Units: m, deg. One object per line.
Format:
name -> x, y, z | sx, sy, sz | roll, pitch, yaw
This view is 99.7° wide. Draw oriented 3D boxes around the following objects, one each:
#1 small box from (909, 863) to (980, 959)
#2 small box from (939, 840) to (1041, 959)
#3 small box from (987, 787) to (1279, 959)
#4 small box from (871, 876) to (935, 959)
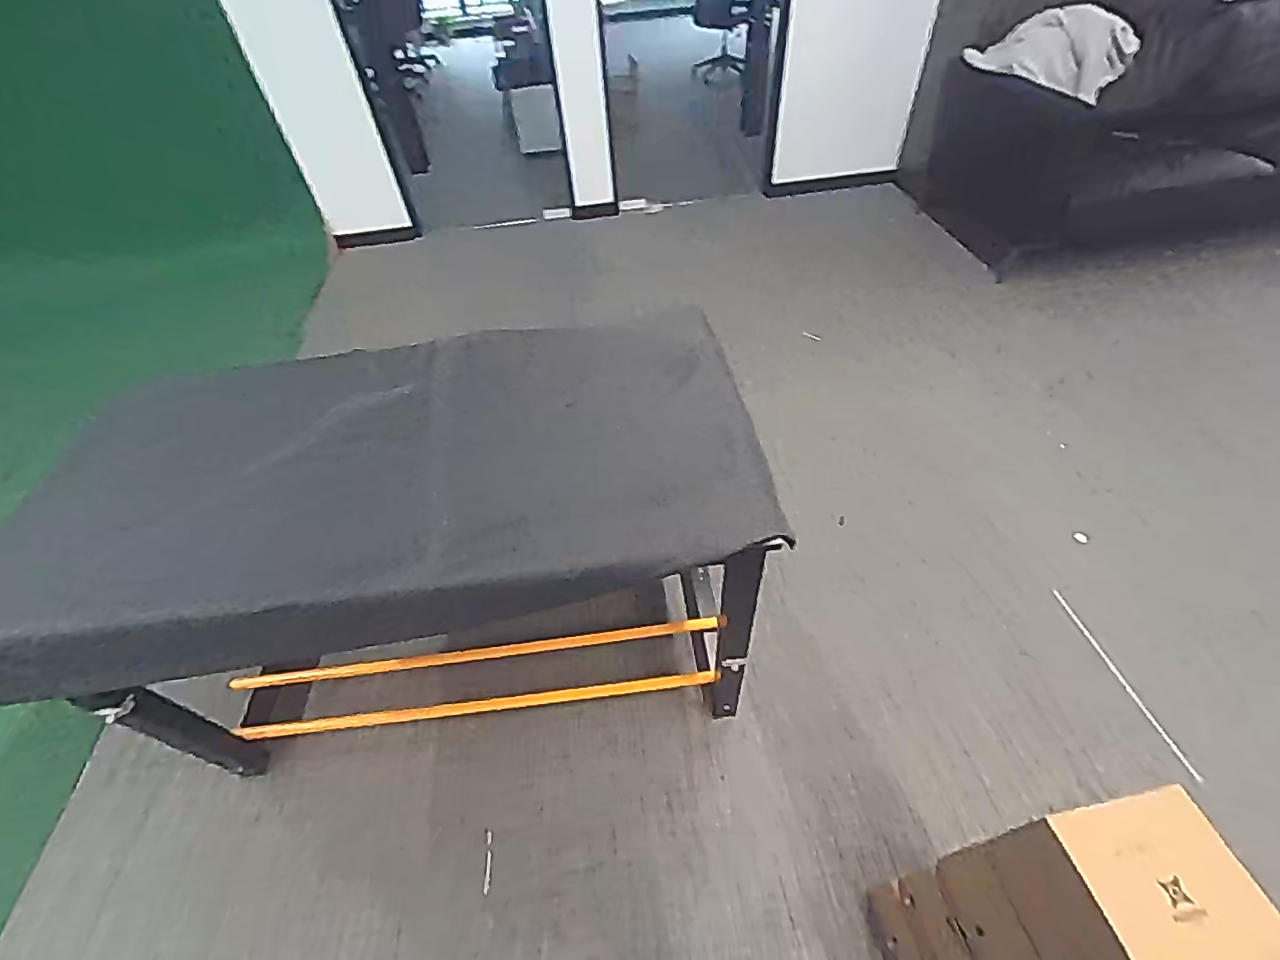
small box -> 0.545, 0.686, 0.835 | 0.179, 0.176, 0.168 | -10, 48, -6
small box -> 0.539, 0.575, 0.714 | 0.168, 0.176, 0.179 | -10, 49, -5
small box -> 0.533, 0.467, 0.592 | 0.168, 0.176, 0.179 | -10, 47, -5
small box -> 0.542, 0.797, 0.956 | 0.179, 0.176, 0.168 | -12, 47, -5
